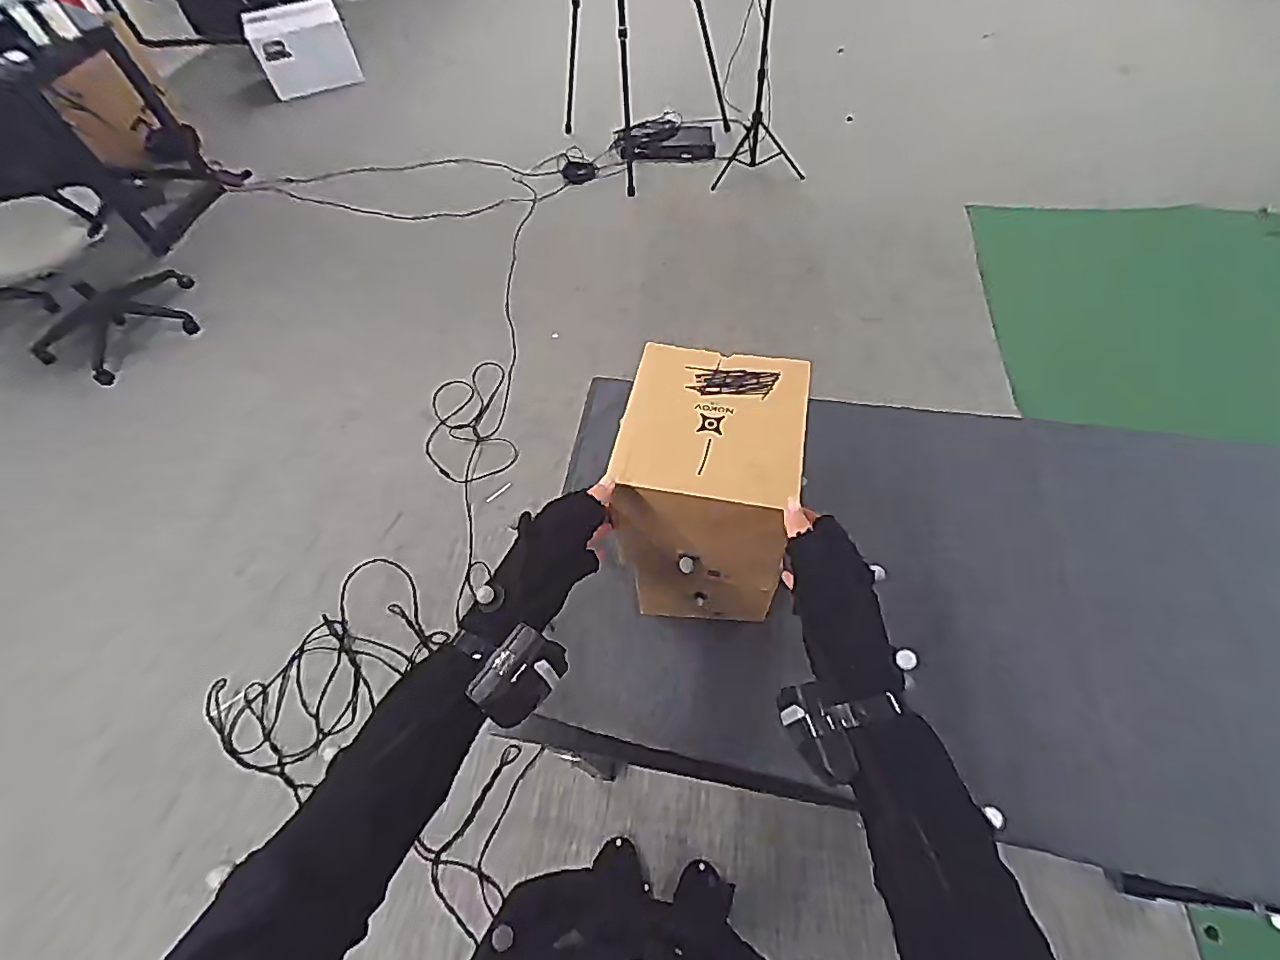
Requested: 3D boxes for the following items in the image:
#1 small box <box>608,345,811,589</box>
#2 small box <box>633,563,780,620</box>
[{"bbox_3d":[0.073,-0.010,0.561,0.168,0.176,0.179,9,57,10],"label":"small box"},{"bbox_3d":[0.085,0.070,0.705,0.168,0.176,0.179,3,55,5],"label":"small box"}]
